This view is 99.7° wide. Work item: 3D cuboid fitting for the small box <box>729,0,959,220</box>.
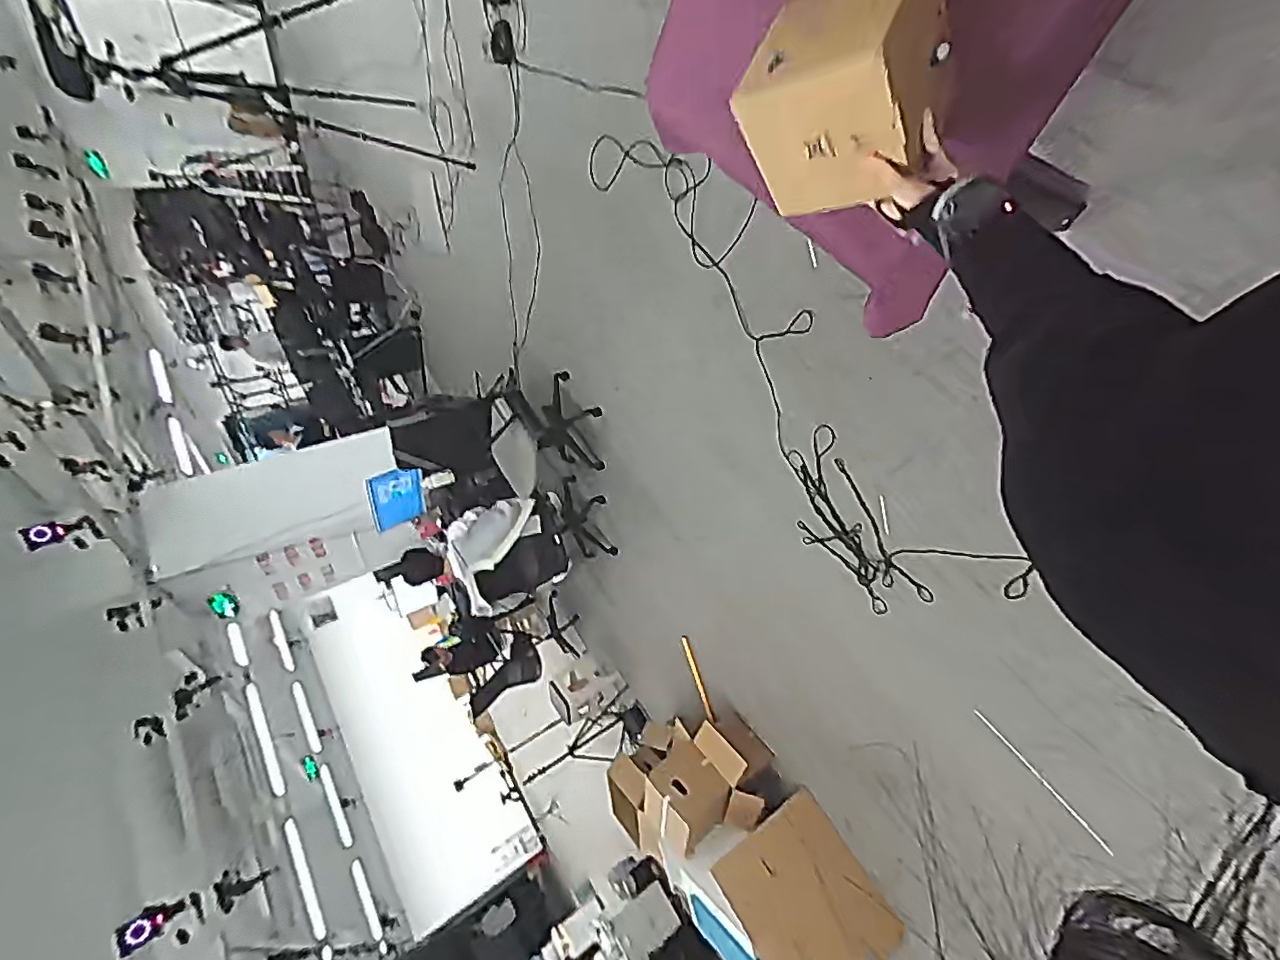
[{"bbox_3d":[0.239,-0.443,0.628,0.179,0.176,0.168,12,164,45],"label":"small box"}]
